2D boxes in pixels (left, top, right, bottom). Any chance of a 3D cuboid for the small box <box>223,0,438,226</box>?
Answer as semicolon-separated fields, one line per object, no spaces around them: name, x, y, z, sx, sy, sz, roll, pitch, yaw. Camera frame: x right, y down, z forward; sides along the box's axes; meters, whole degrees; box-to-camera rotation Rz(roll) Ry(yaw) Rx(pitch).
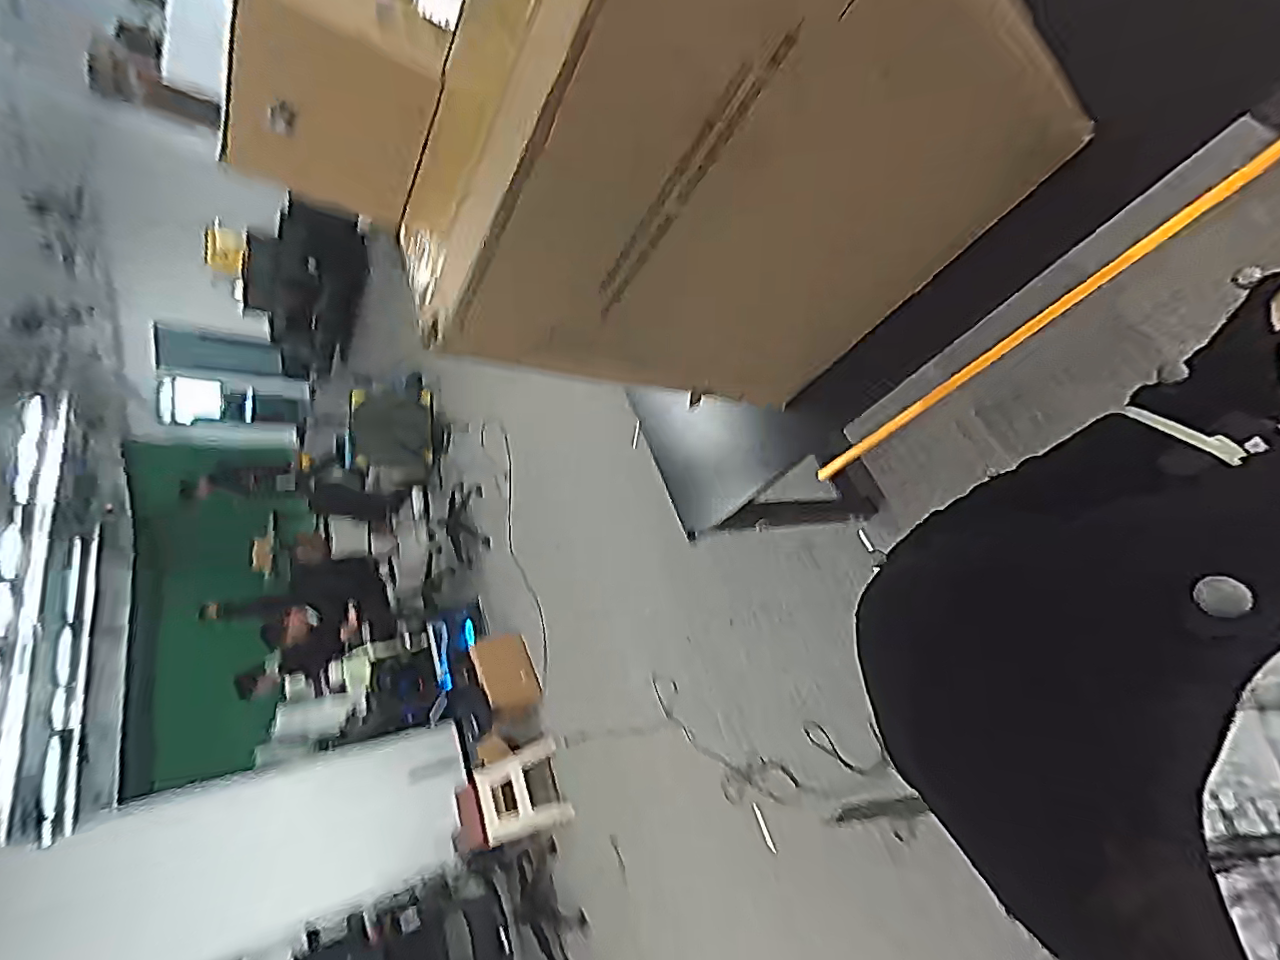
small box;-0.328;-0.408;0.571;0.179;0.176;0.168;-45;55;40
